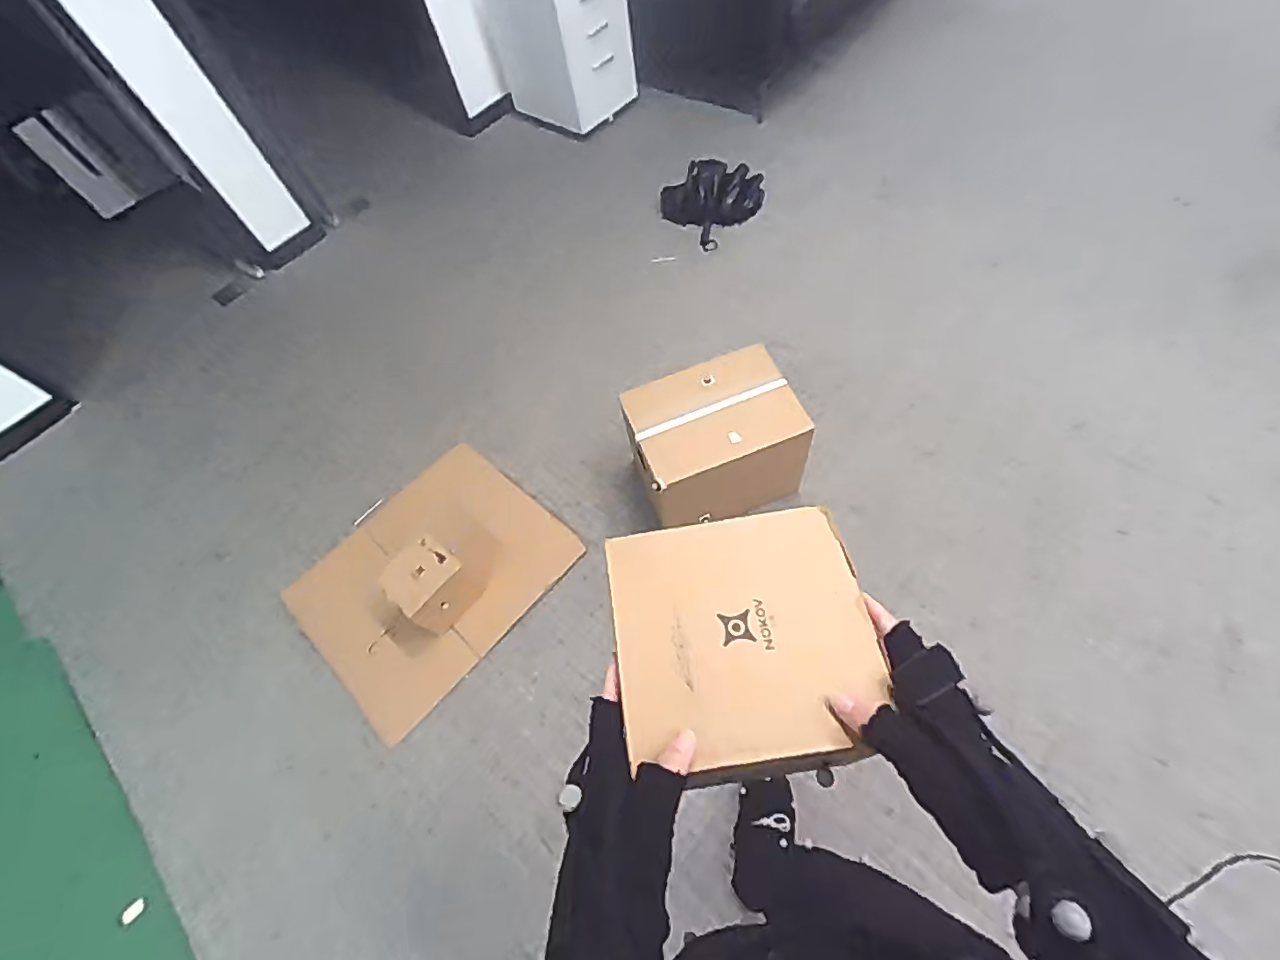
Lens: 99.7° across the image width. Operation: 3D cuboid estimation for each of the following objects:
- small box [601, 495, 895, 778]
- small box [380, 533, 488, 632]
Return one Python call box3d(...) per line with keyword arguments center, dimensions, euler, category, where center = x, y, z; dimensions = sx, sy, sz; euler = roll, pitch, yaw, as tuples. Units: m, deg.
box3d(center=(0.072, 0.136, 0.446), dimensions=(0.179, 0.176, 0.168), euler=(-11, 56, 0), category="small box")
box3d(center=(-0.543, 0.279, 1.450), dimensions=(0.168, 0.176, 0.179), euler=(30, 70, 26), category="small box")
